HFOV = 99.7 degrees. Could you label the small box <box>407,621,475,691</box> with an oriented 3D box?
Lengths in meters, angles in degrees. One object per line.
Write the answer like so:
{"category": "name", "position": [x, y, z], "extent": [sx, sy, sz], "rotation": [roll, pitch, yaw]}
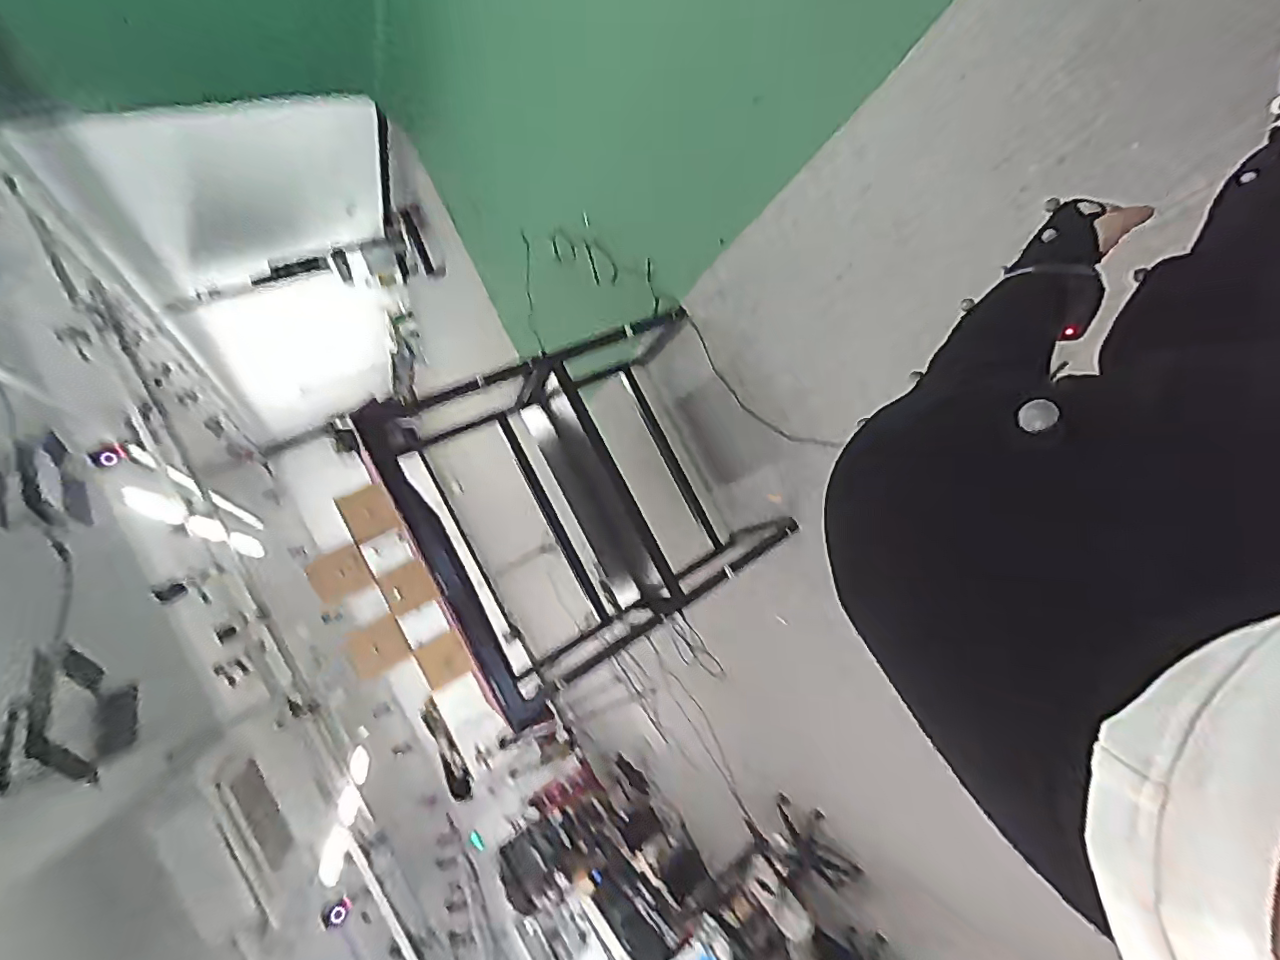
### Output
{"category": "small box", "position": [-0.688, 0.603, 1.872], "extent": [0.168, 0.176, 0.179], "rotation": [62, 155, 1]}

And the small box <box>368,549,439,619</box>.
{"category": "small box", "position": [-0.816, 0.360, 1.876], "extent": [0.179, 0.176, 0.168], "rotation": [63, 154, 0]}

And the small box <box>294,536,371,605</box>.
{"category": "small box", "position": [-1.013, 0.301, 1.803], "extent": [0.168, 0.176, 0.179], "rotation": [62, 154, 1]}

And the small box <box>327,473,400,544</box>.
{"category": "small box", "position": [-0.950, 0.101, 1.875], "extent": [0.179, 0.176, 0.168], "rotation": [61, 153, 0]}

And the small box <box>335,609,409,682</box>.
{"category": "small box", "position": [-0.890, 0.545, 1.810], "extent": [0.179, 0.176, 0.168], "rotation": [61, 154, 2]}
